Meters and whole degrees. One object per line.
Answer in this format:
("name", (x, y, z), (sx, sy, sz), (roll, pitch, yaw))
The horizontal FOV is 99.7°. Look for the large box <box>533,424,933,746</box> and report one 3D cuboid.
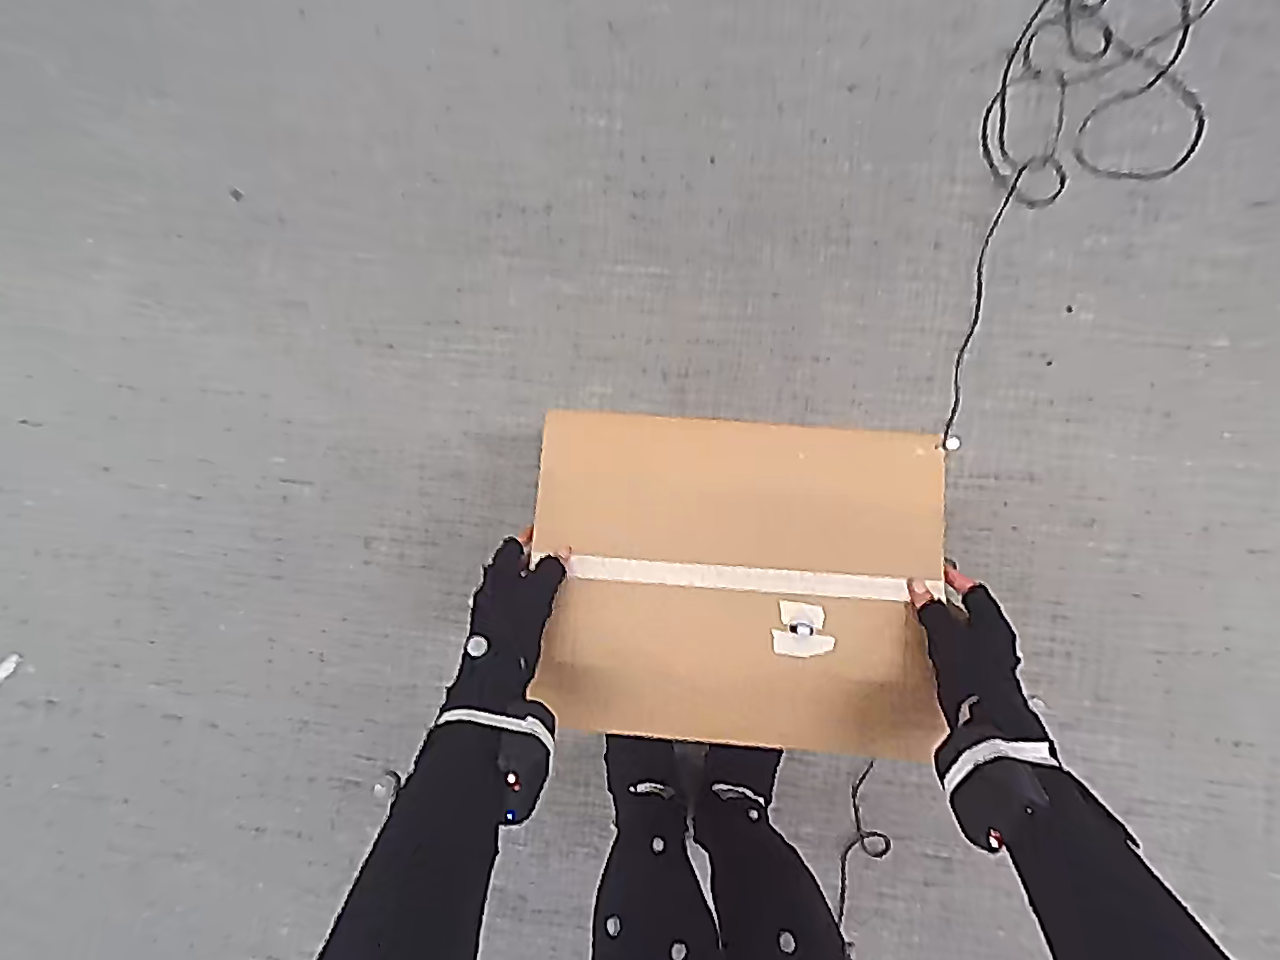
("large box", (0.099, 0.122, 0.701), (0.408, 0.320, 0.320), (4, 83, 2))
